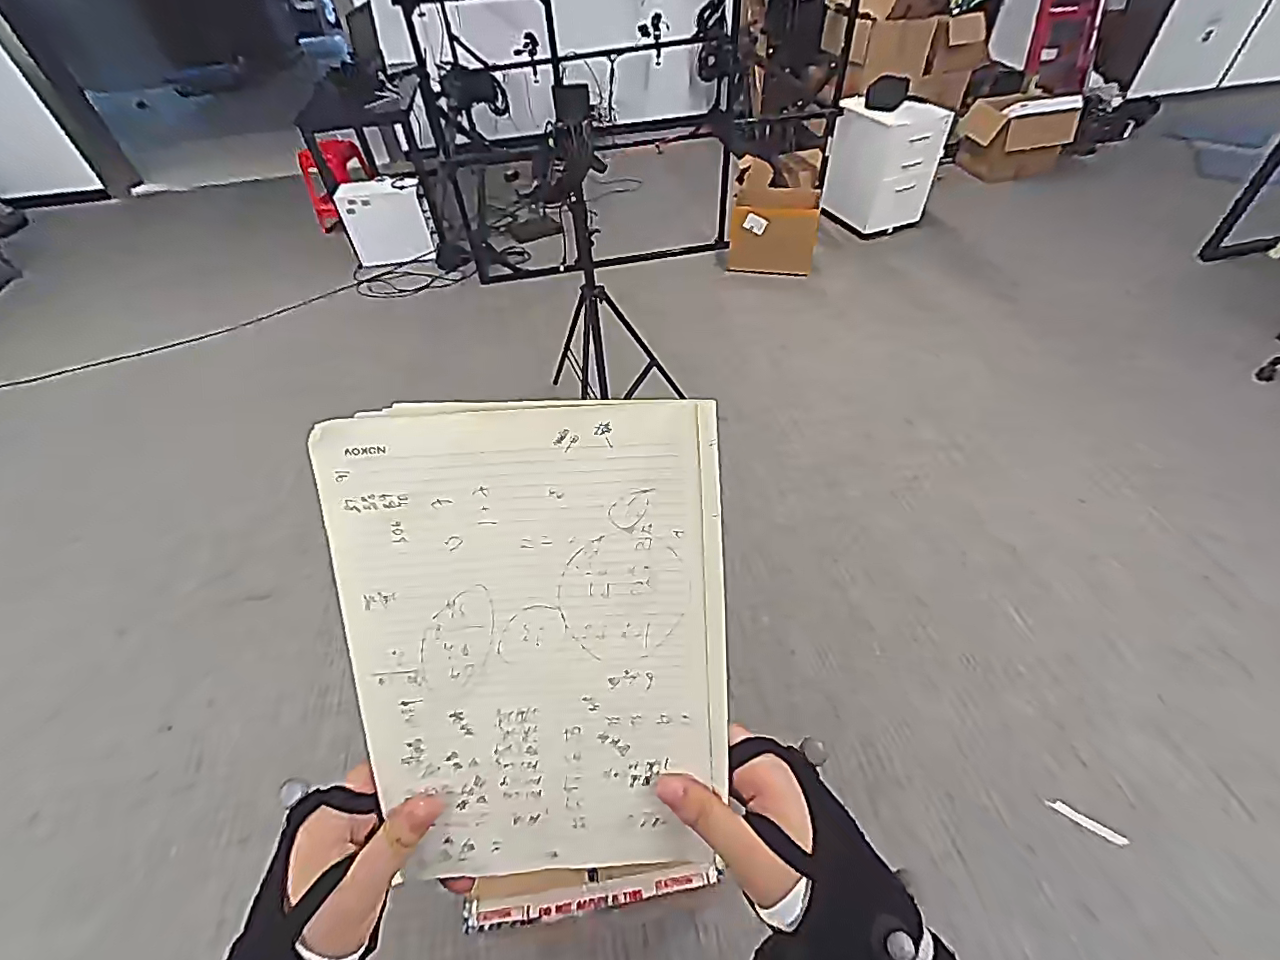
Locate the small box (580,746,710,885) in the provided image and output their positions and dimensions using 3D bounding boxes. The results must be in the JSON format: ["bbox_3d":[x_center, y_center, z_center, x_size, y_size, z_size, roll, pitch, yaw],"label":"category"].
[{"bbox_3d":[0.012,0.490,0.820,0.179,0.176,0.168,-11,49,-8],"label":"small box"}]

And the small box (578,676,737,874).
[{"bbox_3d":[0.013,0.380,0.697,0.168,0.176,0.179,-8,50,-6],"label":"small box"}]
